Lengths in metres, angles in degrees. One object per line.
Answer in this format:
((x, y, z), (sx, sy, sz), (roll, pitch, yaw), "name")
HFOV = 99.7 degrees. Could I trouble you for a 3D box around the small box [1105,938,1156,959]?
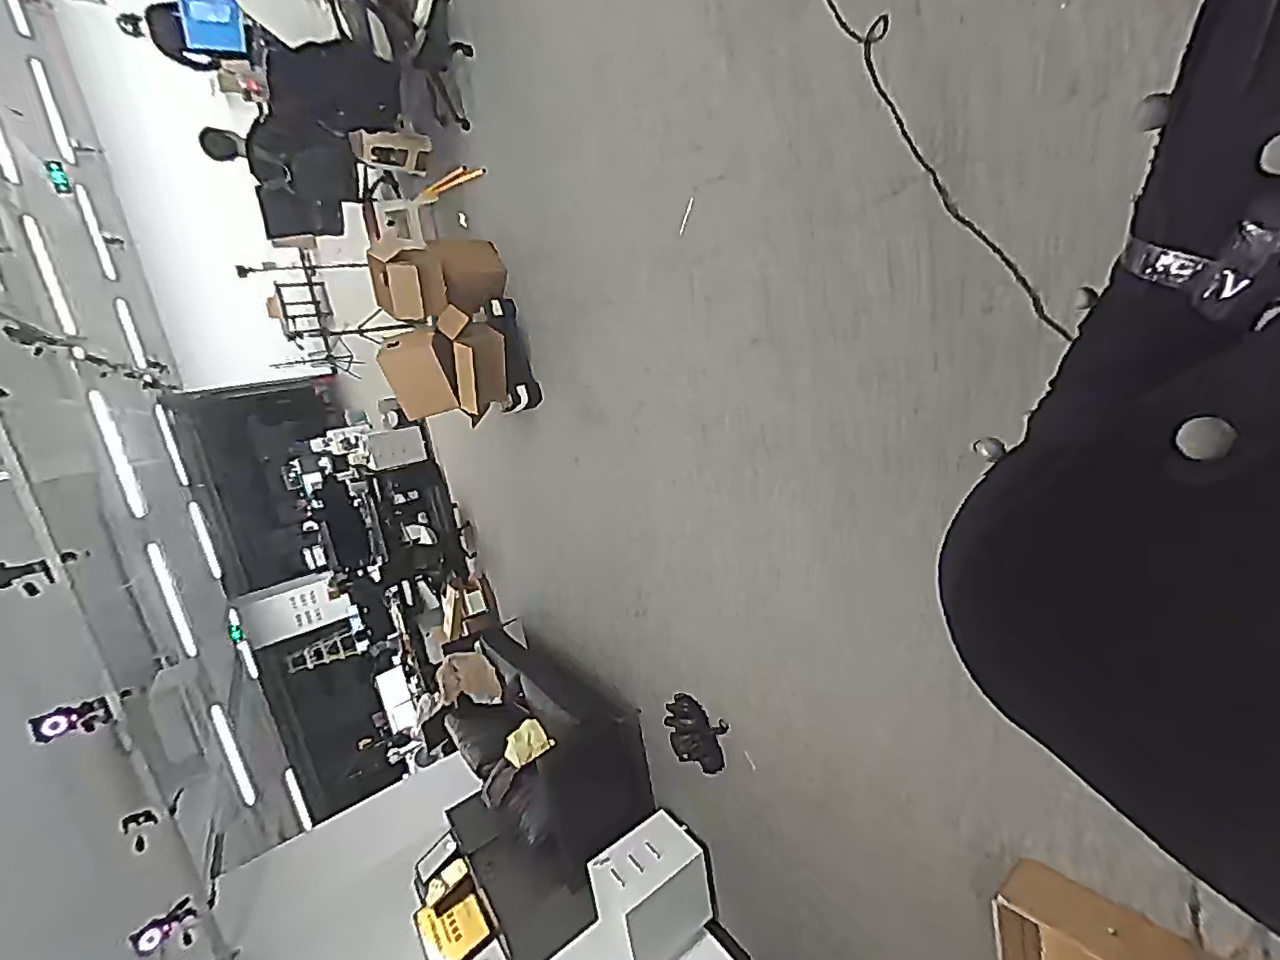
((1.221, 1.275, 1.299), (0.168, 0.176, 0.179), (8, 112, 55), "small box")
